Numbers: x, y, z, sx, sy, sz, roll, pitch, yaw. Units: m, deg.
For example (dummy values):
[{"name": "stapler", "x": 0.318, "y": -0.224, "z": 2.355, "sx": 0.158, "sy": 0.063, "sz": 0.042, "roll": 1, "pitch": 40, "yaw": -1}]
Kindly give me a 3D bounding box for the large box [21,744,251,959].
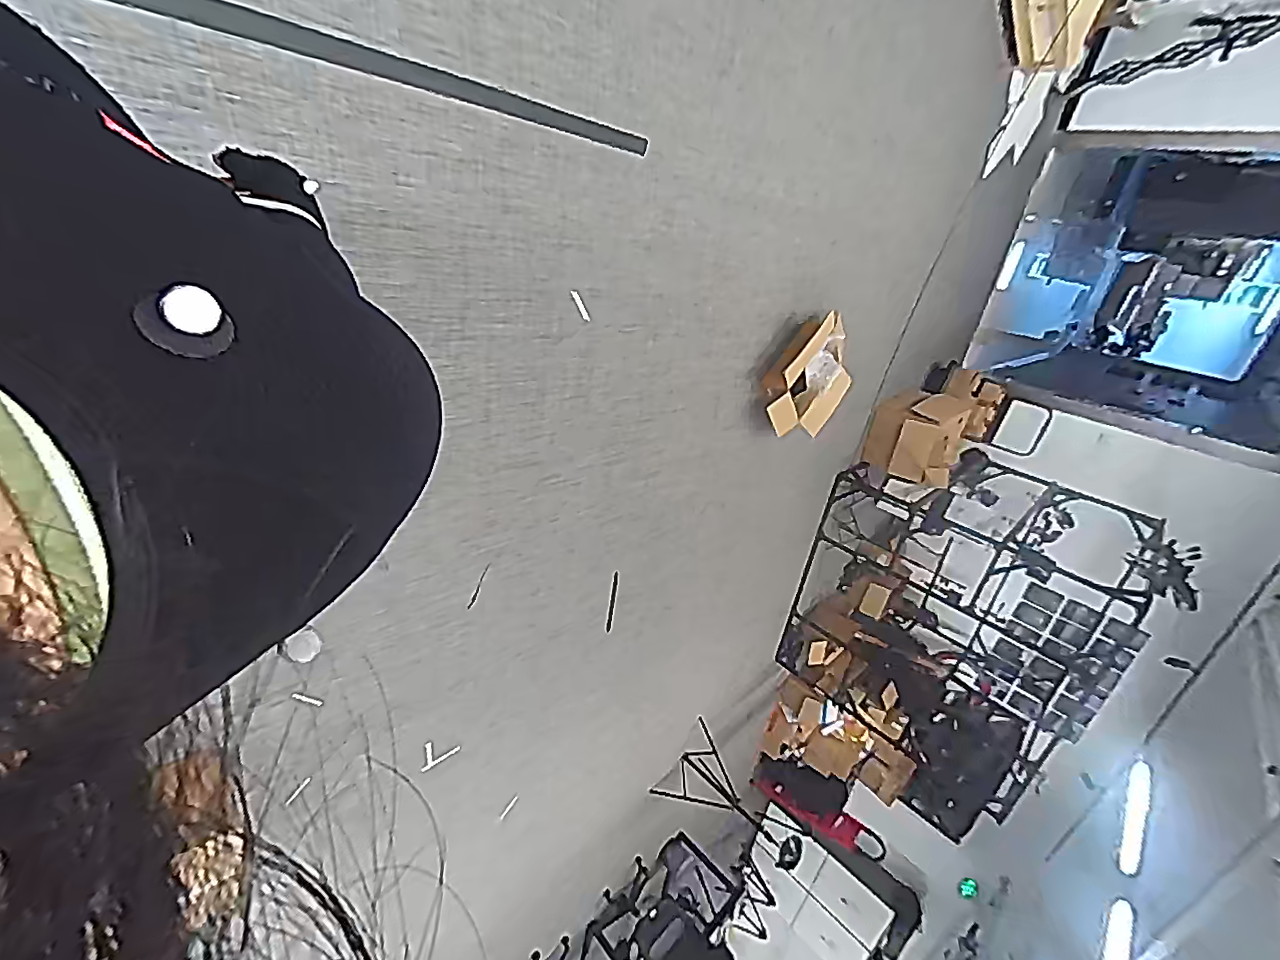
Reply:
[{"name": "large box", "x": -1.310, "y": 0.996, "z": 1.430, "sx": 0.408, "sy": 0.320, "sz": 0.320, "roll": -8, "pitch": 119, "yaw": -48}]
